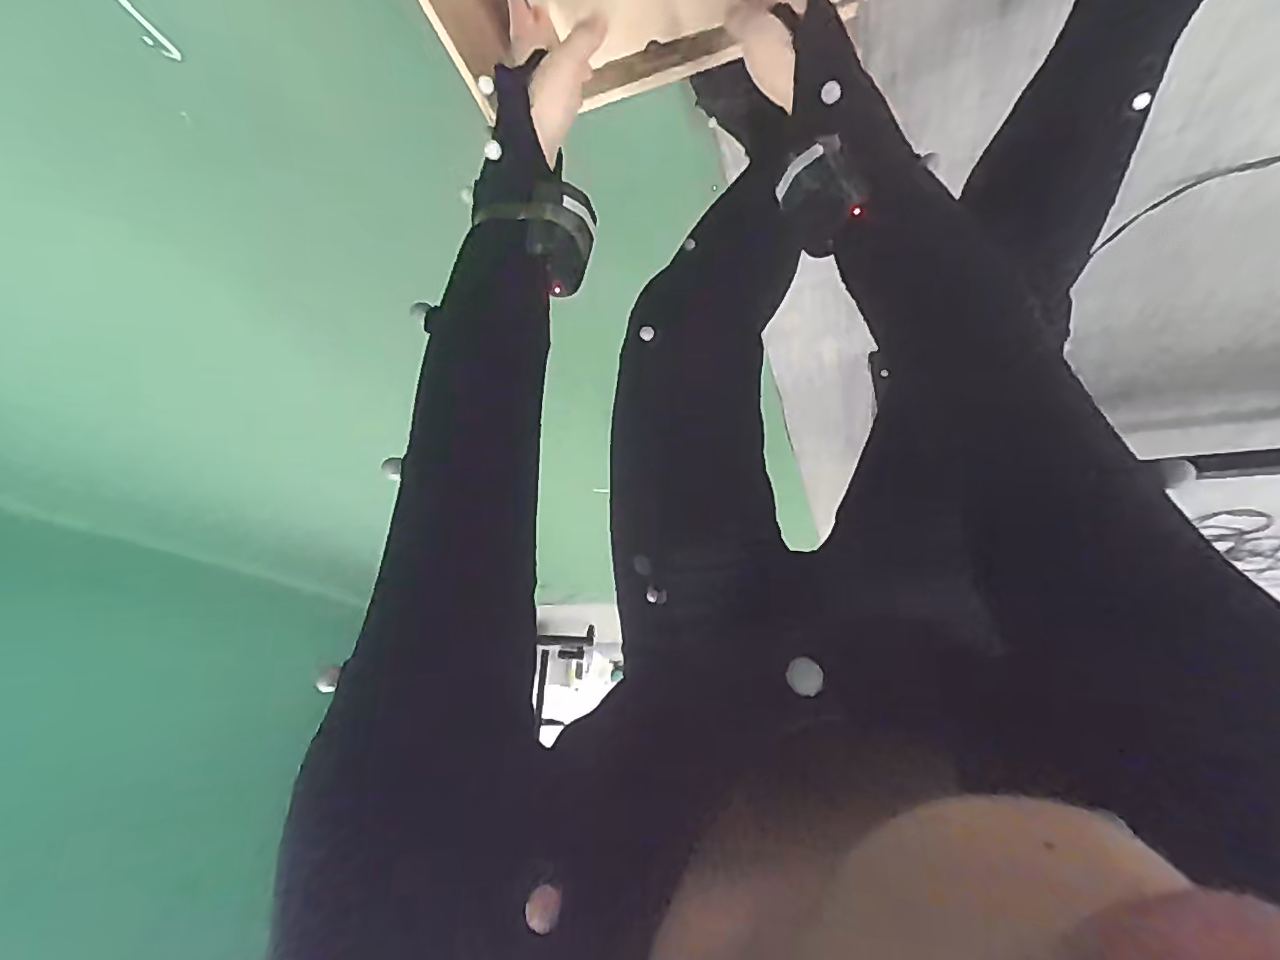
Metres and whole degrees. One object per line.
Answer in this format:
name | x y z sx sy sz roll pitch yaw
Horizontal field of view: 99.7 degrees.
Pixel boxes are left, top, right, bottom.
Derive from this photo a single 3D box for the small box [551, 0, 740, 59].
small box | -0.009 -0.517 0.454 0.168 0.176 0.179 -6 154 16
